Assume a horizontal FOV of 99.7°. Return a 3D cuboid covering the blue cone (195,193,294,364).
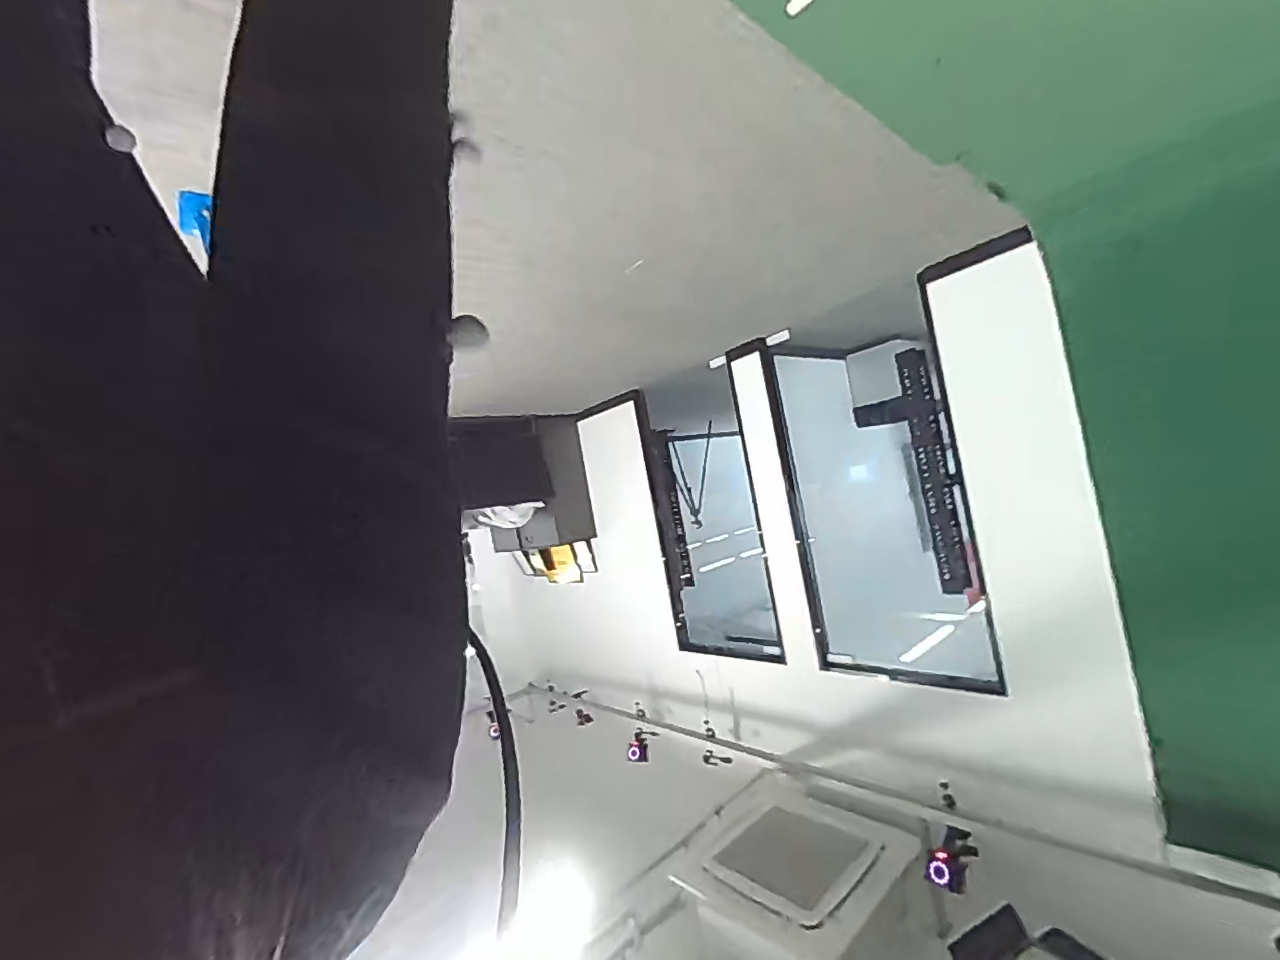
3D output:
[{"bbox_3d":[-0.921,-0.466,1.295,0.192,0.380,0.193,-9,178,-42],"label":"blue cone"}]
